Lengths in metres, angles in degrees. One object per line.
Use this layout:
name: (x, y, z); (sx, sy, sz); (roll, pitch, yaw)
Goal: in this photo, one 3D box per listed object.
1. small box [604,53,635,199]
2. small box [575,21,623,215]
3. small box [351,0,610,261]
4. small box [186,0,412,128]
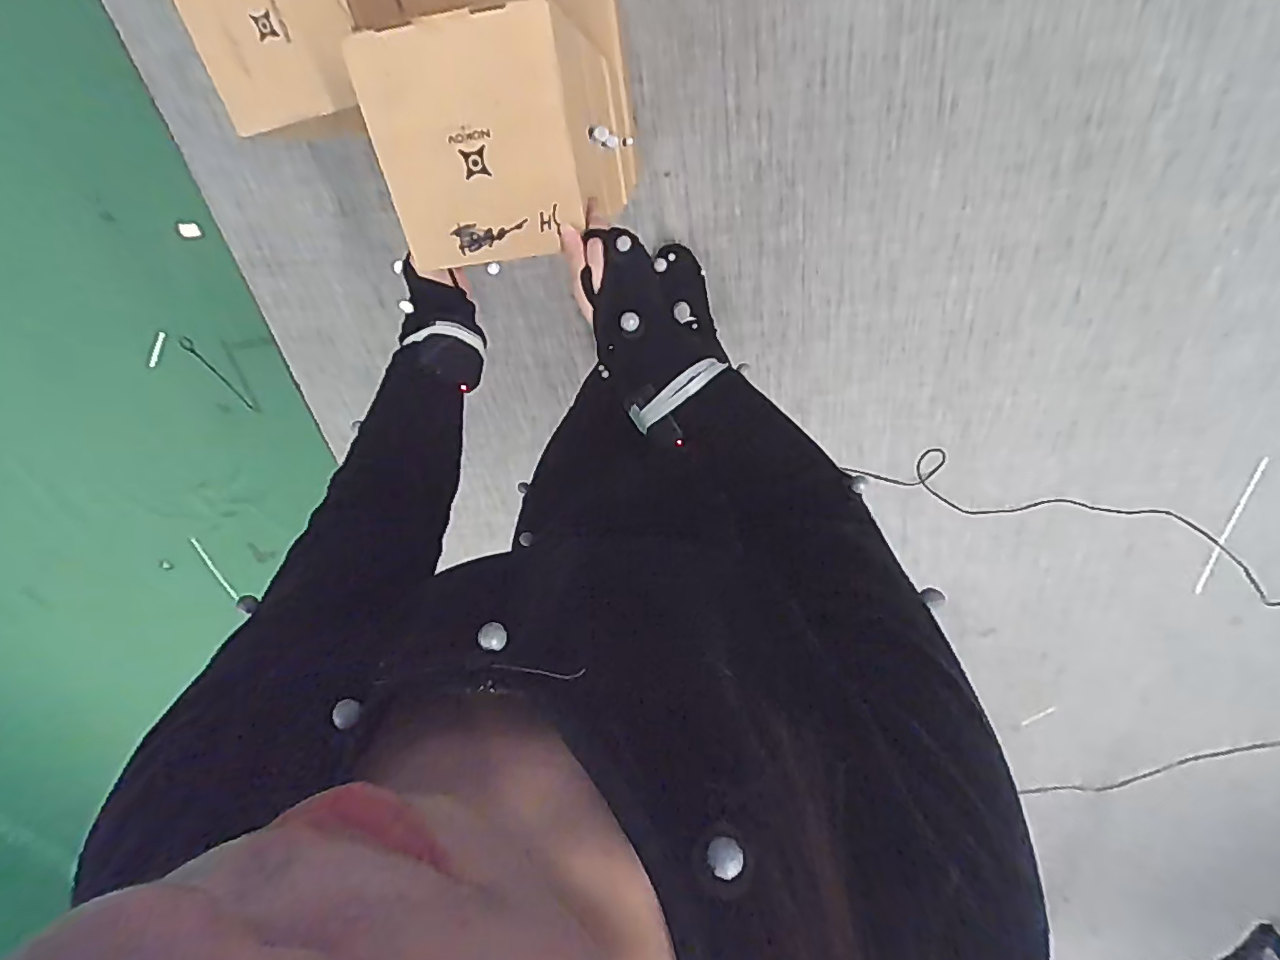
small box: (-0.103, -0.500, 0.788); (0.179, 0.176, 0.168); (-4, 121, 7)
small box: (-0.116, -0.414, 0.649); (0.168, 0.176, 0.179); (-4, 123, 7)
small box: (-0.127, -0.323, 0.514); (0.168, 0.176, 0.179); (-4, 123, 7)
small box: (-0.360, -0.511, 0.610); (0.179, 0.176, 0.168); (-7, 120, 10)
